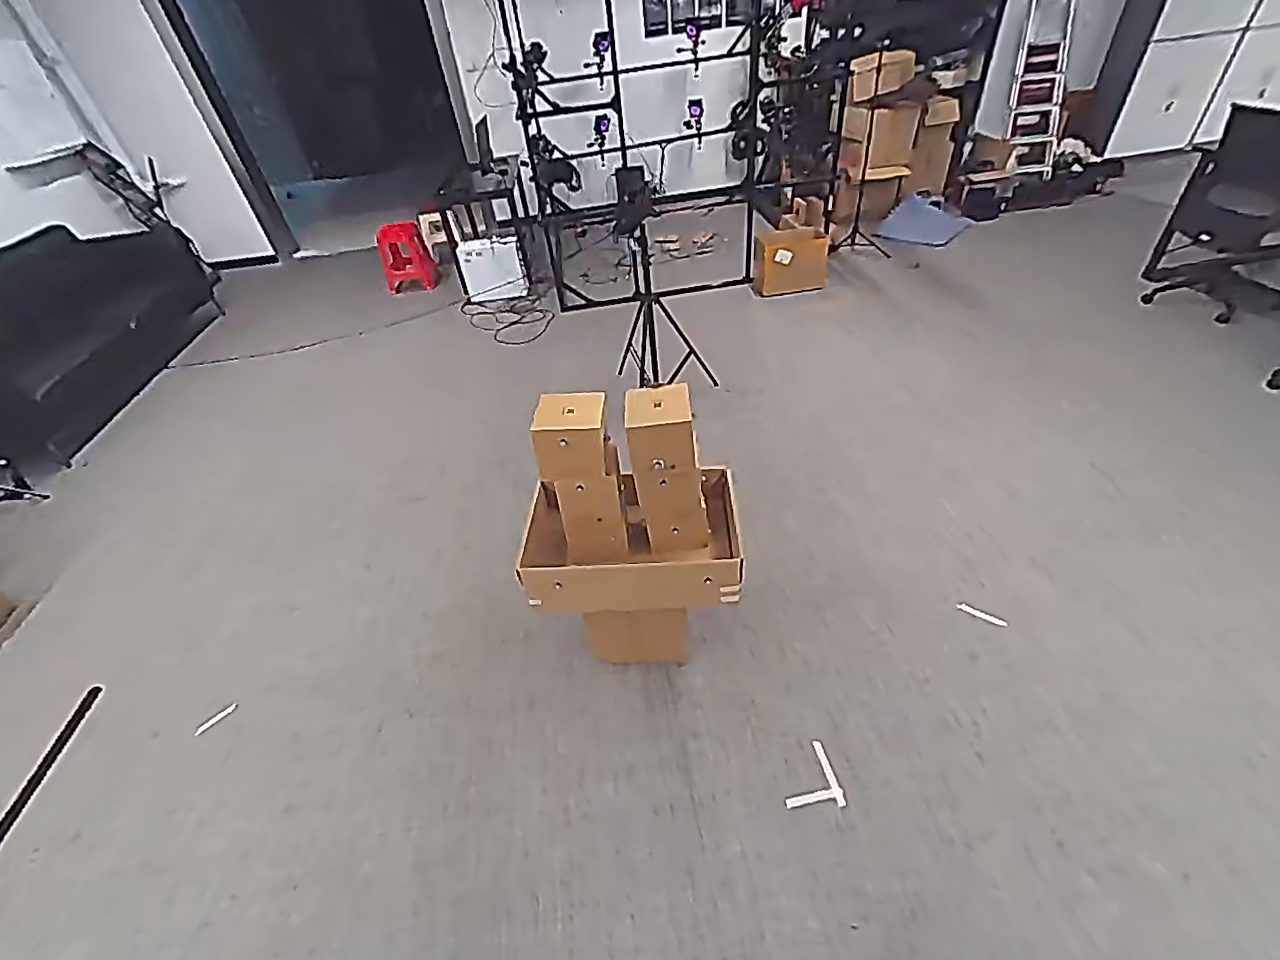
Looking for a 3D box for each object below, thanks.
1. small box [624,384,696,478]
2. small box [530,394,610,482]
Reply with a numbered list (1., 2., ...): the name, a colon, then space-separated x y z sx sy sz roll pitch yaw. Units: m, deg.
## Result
1. small box: 0.053 -0.127 1.404 0.168 0.176 0.179 -7 40 5
2. small box: -0.175 -0.109 1.422 0.179 0.176 0.168 -2 40 4
